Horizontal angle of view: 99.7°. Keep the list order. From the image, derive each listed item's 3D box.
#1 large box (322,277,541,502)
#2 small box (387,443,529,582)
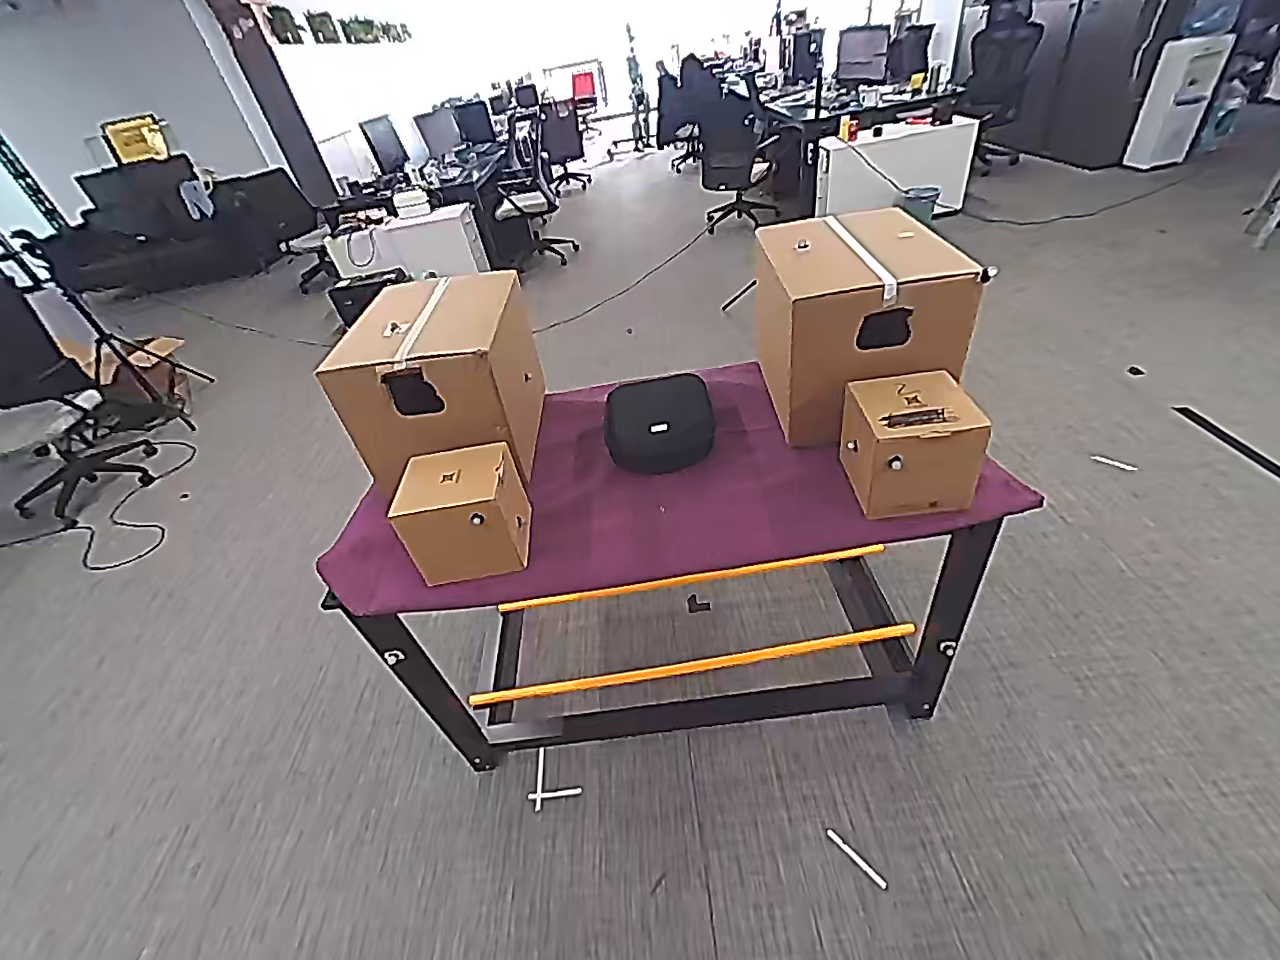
[{"bbox_3d":[-0.408,-0.206,1.189,0.320,0.320,0.408,-8,41,2],"label":"large box"},{"bbox_3d":[-0.309,0.060,0.955,0.179,0.176,0.168,-10,38,0],"label":"small box"}]
